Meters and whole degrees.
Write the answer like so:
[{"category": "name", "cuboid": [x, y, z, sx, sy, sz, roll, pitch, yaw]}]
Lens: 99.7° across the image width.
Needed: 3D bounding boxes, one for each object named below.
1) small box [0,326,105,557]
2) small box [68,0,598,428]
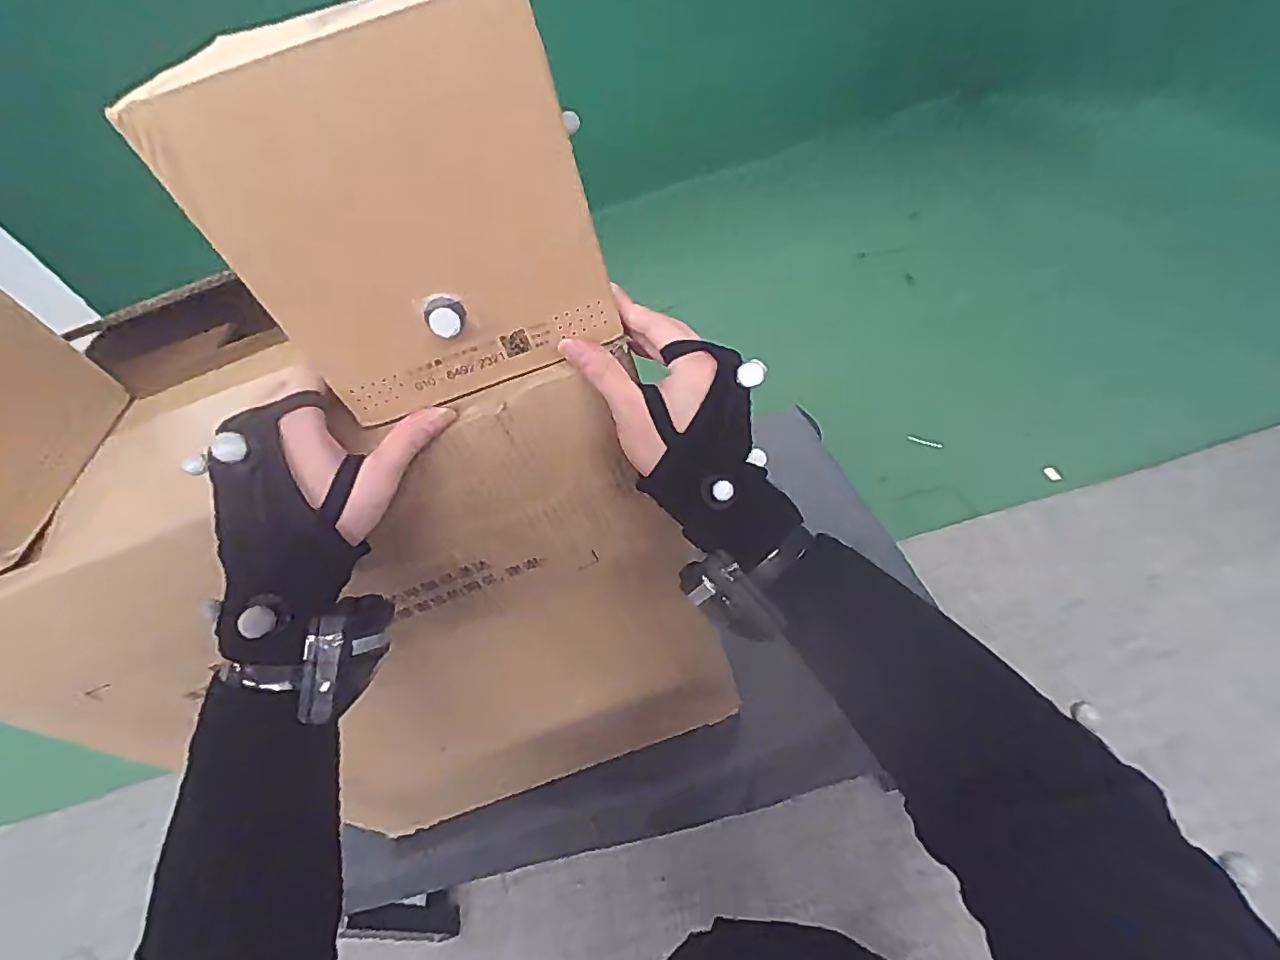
[{"category": "small box", "cuboid": [-0.489, -0.025, 0.317, 0.168, 0.176, 0.179, -21, 47, 1]}, {"category": "small box", "cuboid": [-0.136, -0.161, 0.313, 0.168, 0.176, 0.179, -20, 48, 0]}]
